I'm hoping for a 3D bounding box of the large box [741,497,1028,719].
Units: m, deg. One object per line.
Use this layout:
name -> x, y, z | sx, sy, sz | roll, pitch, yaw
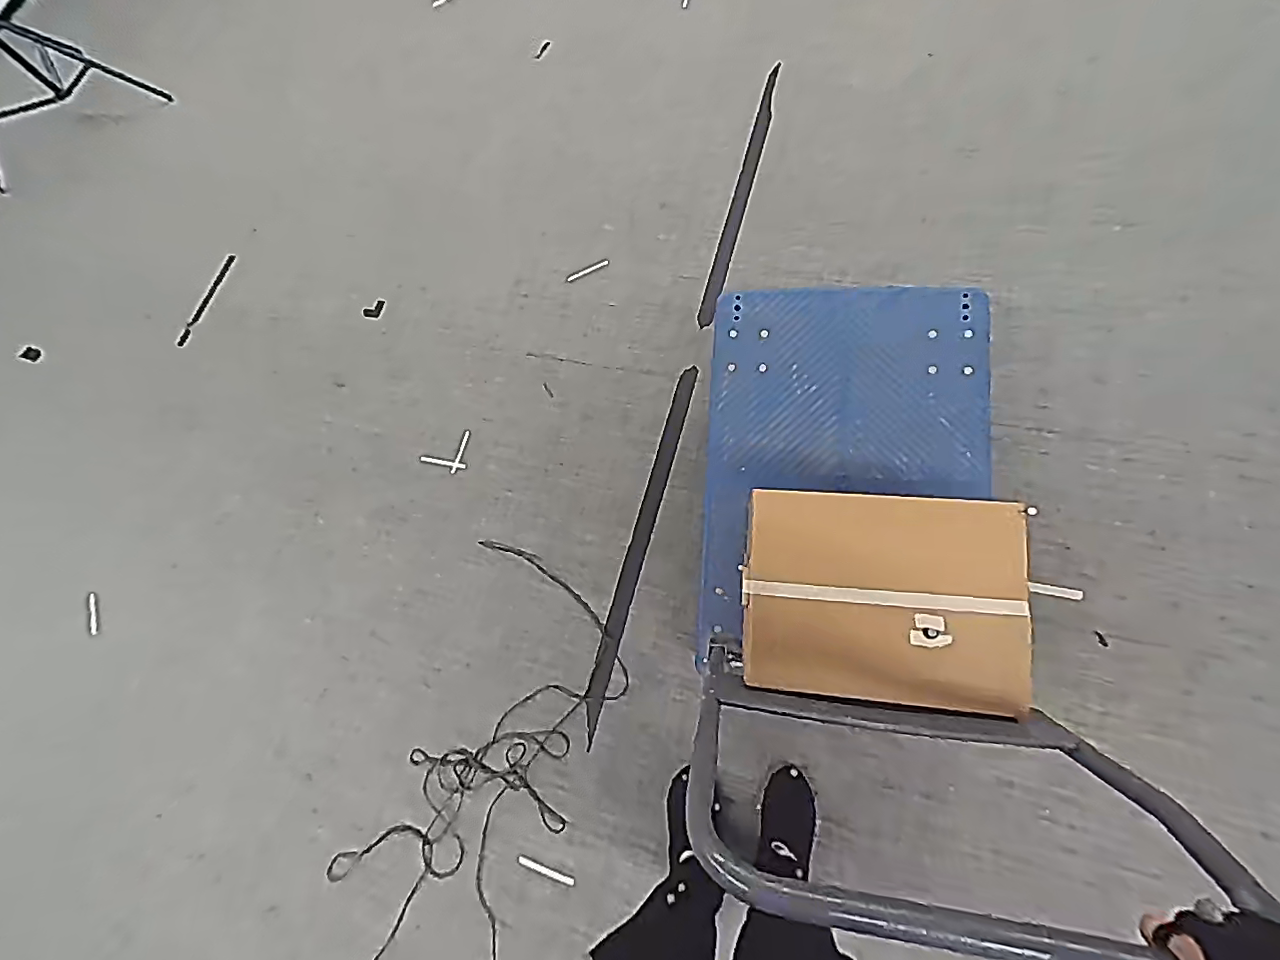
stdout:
large box -> 0.390, 0.207, 0.970 | 0.408, 0.320, 0.320 | 3, 84, 9
